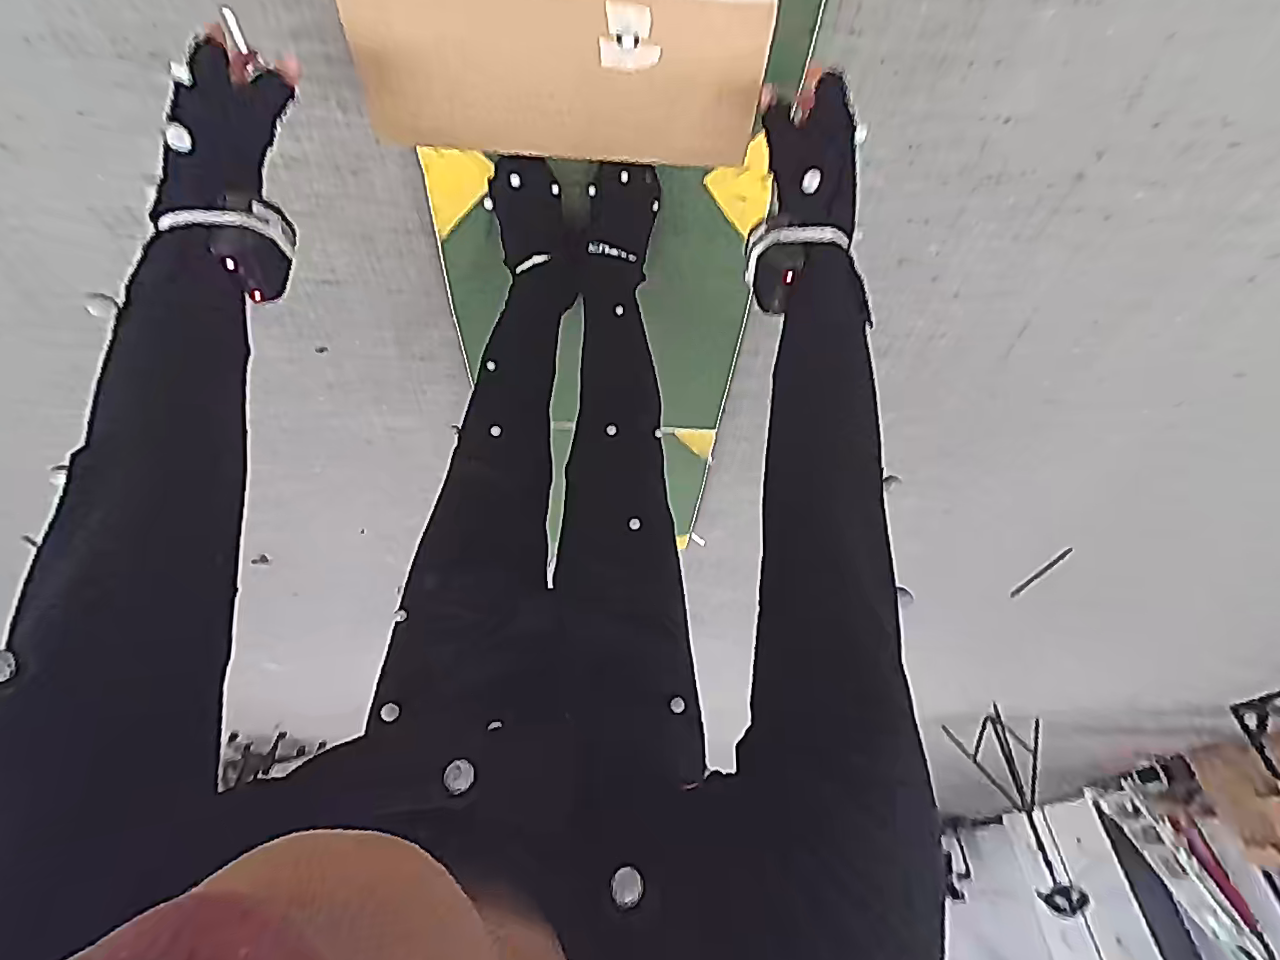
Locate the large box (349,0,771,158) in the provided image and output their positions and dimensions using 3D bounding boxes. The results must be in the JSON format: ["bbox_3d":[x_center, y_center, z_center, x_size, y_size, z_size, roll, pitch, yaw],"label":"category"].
[{"bbox_3d":[-0.079,-0.581,0.585,0.408,0.320,0.320,1,142,-4],"label":"large box"}]
